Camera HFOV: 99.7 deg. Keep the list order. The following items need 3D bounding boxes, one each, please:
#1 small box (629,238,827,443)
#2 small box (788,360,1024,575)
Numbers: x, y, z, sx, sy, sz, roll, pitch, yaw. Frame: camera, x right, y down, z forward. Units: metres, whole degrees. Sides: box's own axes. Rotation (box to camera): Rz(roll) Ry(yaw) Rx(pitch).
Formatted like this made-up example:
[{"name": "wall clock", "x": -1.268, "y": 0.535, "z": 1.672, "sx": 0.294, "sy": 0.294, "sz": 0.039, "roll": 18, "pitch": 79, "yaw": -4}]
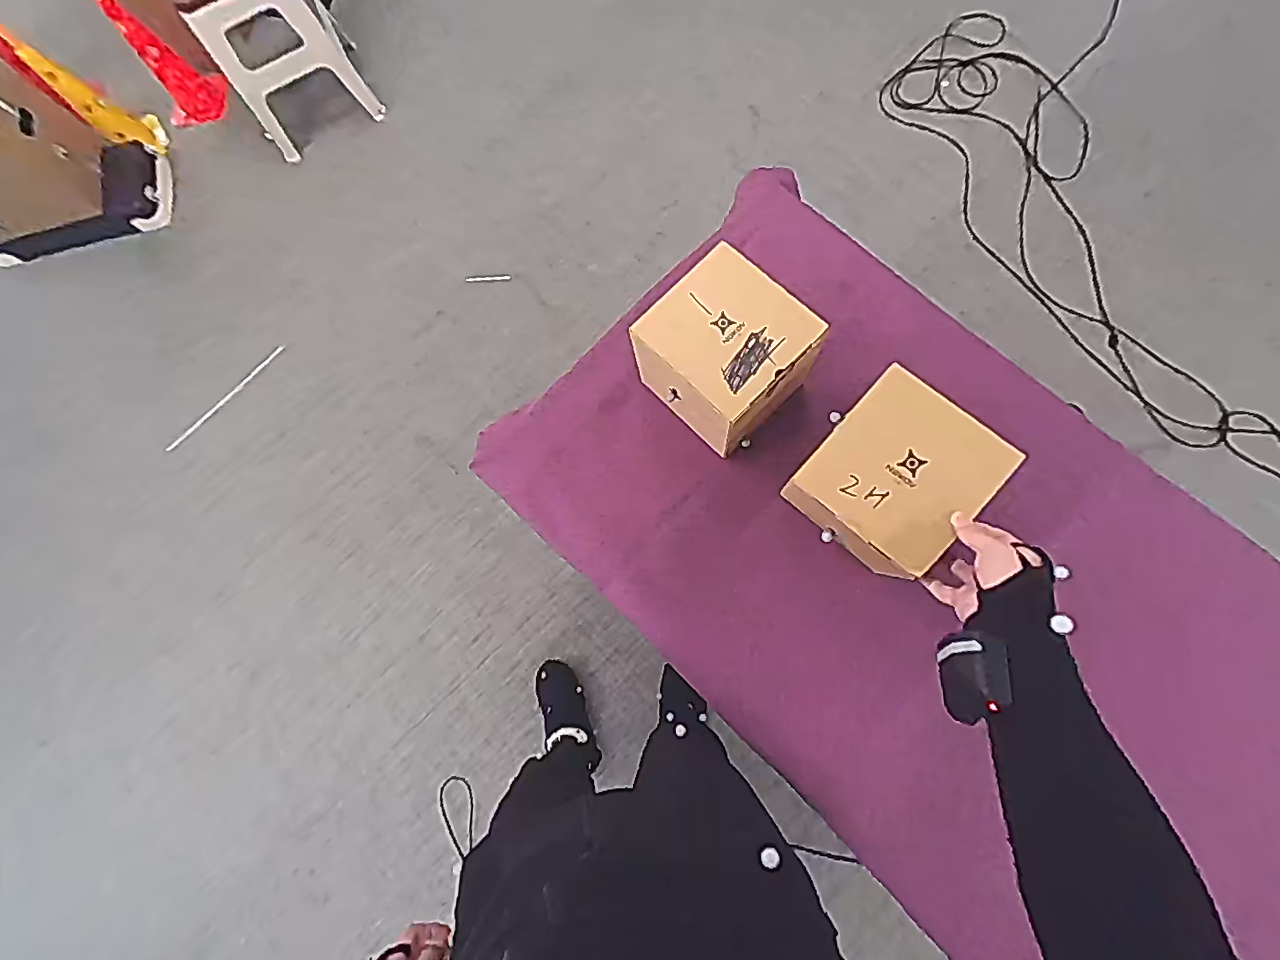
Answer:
[{"name": "small box", "x": 0.111, "y": -0.167, "z": 0.715, "sx": 0.168, "sy": 0.176, "sz": 0.179, "roll": -44, "pitch": 77, "yaw": -4}, {"name": "small box", "x": 0.297, "y": -0.008, "z": 0.655, "sx": 0.168, "sy": 0.176, "sz": 0.179, "roll": 41, "pitch": 93, "yaw": 12}]
